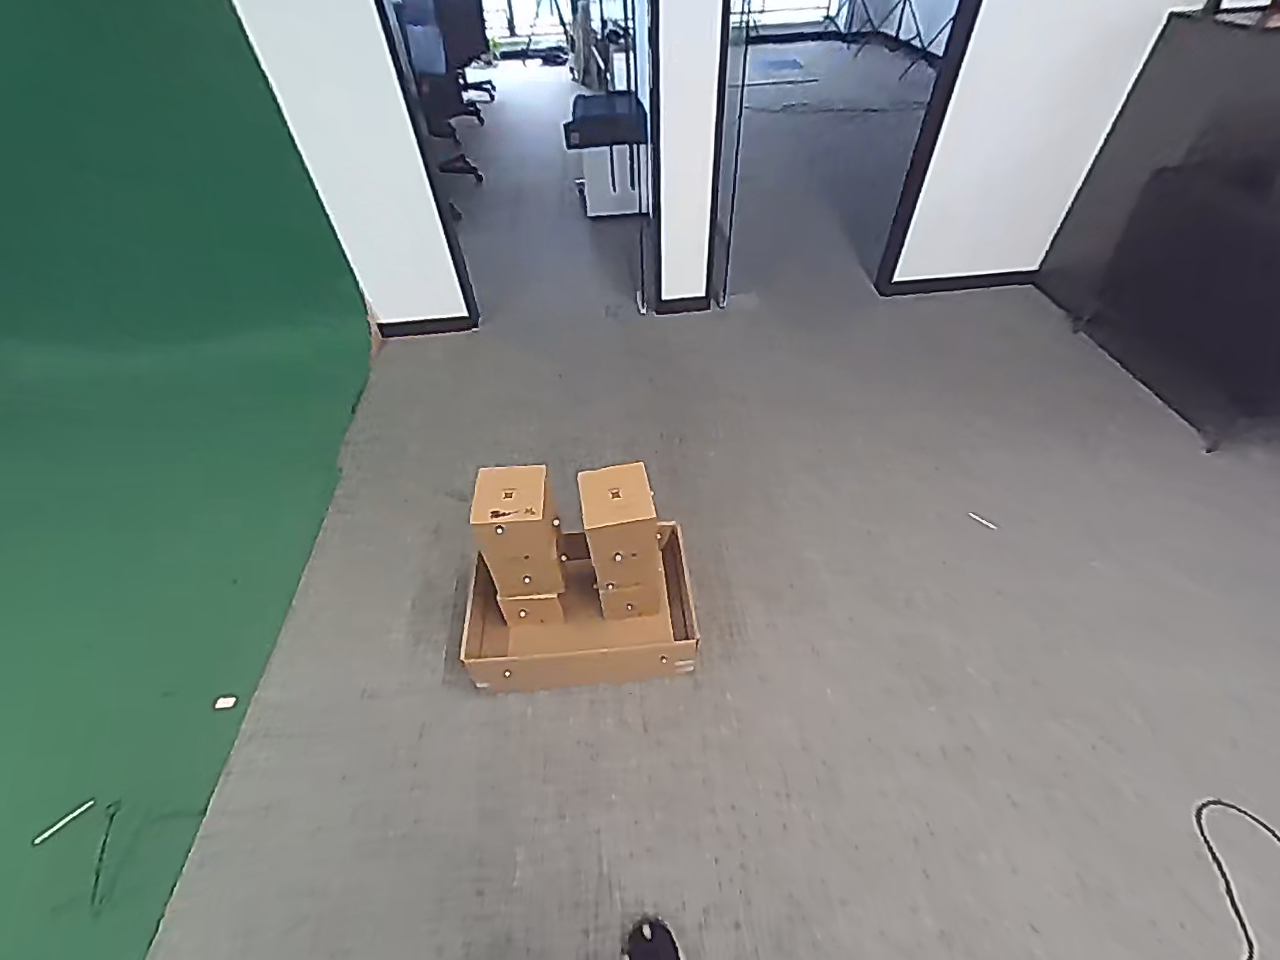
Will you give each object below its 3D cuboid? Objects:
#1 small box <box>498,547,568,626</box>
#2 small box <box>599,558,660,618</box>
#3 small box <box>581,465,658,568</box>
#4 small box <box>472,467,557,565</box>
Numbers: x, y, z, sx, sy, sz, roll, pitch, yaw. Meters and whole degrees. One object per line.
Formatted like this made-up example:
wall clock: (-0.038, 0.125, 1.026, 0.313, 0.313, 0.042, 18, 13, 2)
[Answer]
small box: (-0.303, 0.314, 1.574, 0.168, 0.176, 0.179, -1, 47, 0)
small box: (-0.030, 0.290, 1.581, 0.168, 0.176, 0.179, -5, 48, -2)
small box: (-0.050, 0.090, 1.321, 0.168, 0.176, 0.179, -9, 50, -4)
small box: (-0.300, 0.090, 1.332, 0.168, 0.176, 0.179, -3, 47, 0)
